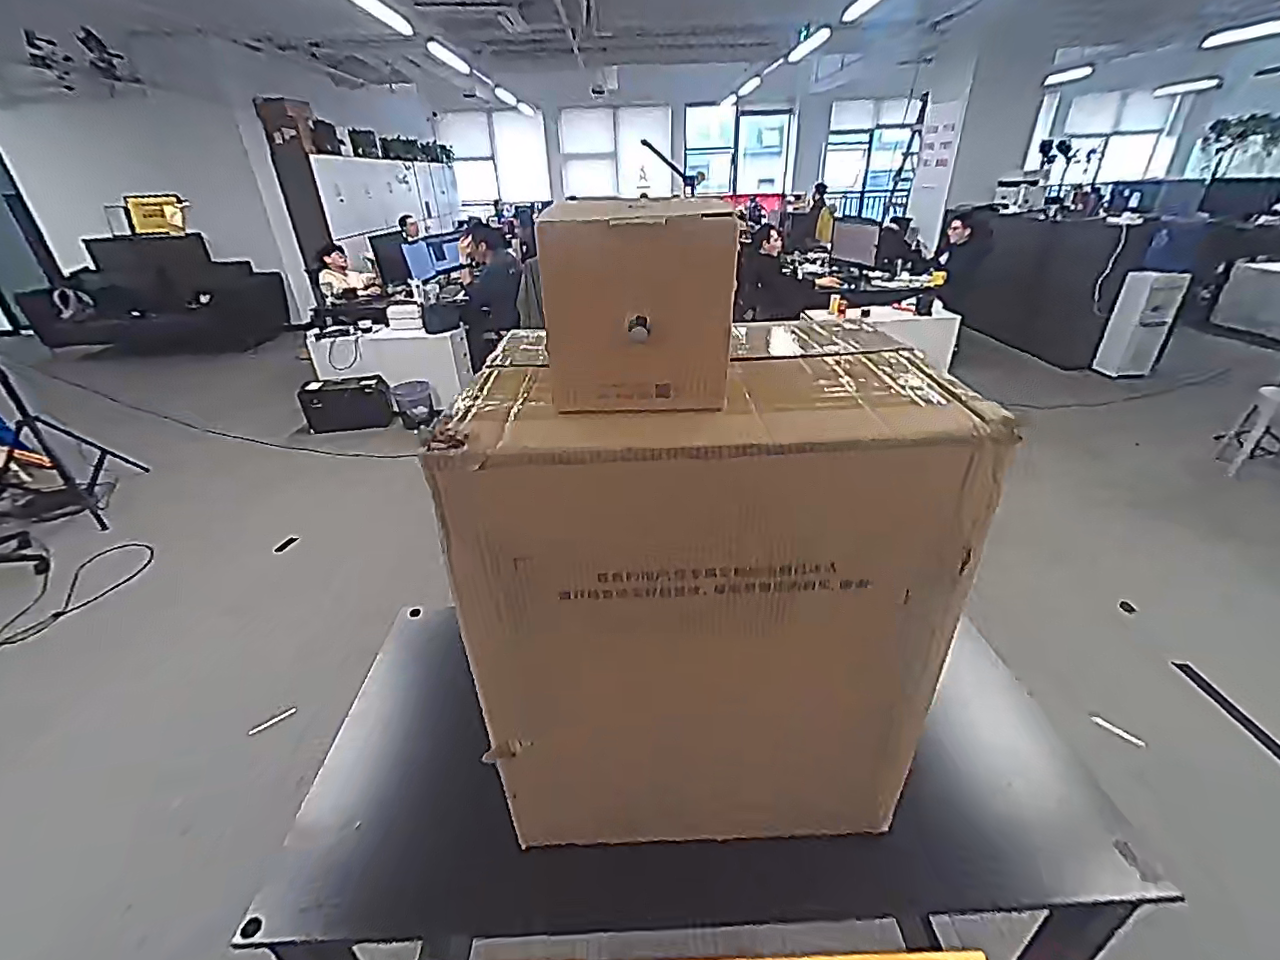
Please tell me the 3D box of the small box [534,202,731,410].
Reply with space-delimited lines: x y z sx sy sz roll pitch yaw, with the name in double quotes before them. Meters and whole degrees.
"small box" -0.003 -0.177 0.550 0.168 0.176 0.179 -1 32 0
